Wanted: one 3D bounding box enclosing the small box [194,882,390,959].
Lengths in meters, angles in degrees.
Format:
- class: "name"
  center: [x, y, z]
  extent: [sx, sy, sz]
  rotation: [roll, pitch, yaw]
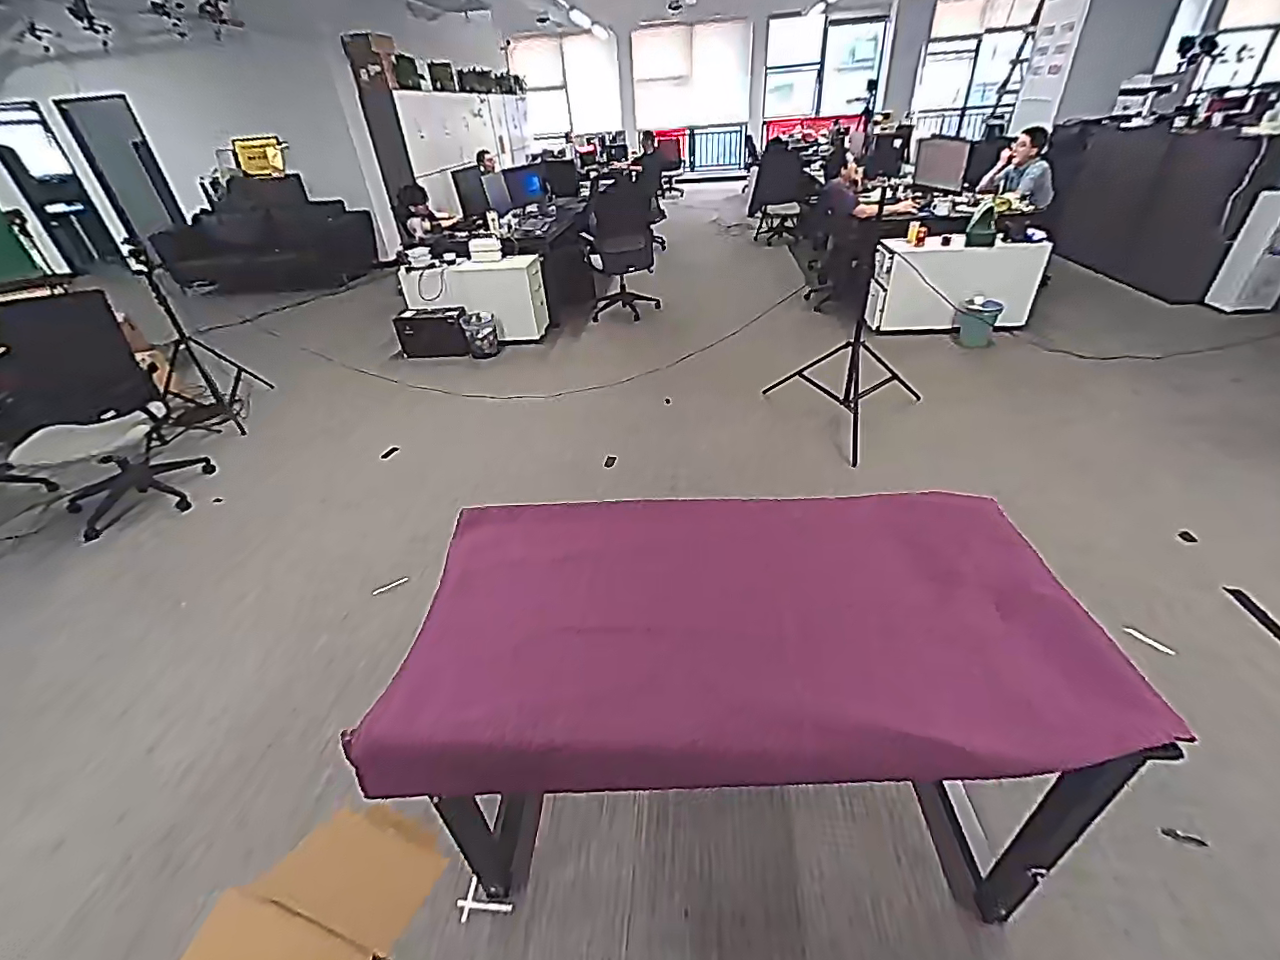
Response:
- class: "small box"
  center: [-0.377, 0.558, 0.552]
  extent: [0.168, 0.176, 0.179]
  rotation: [22, 45, 6]
